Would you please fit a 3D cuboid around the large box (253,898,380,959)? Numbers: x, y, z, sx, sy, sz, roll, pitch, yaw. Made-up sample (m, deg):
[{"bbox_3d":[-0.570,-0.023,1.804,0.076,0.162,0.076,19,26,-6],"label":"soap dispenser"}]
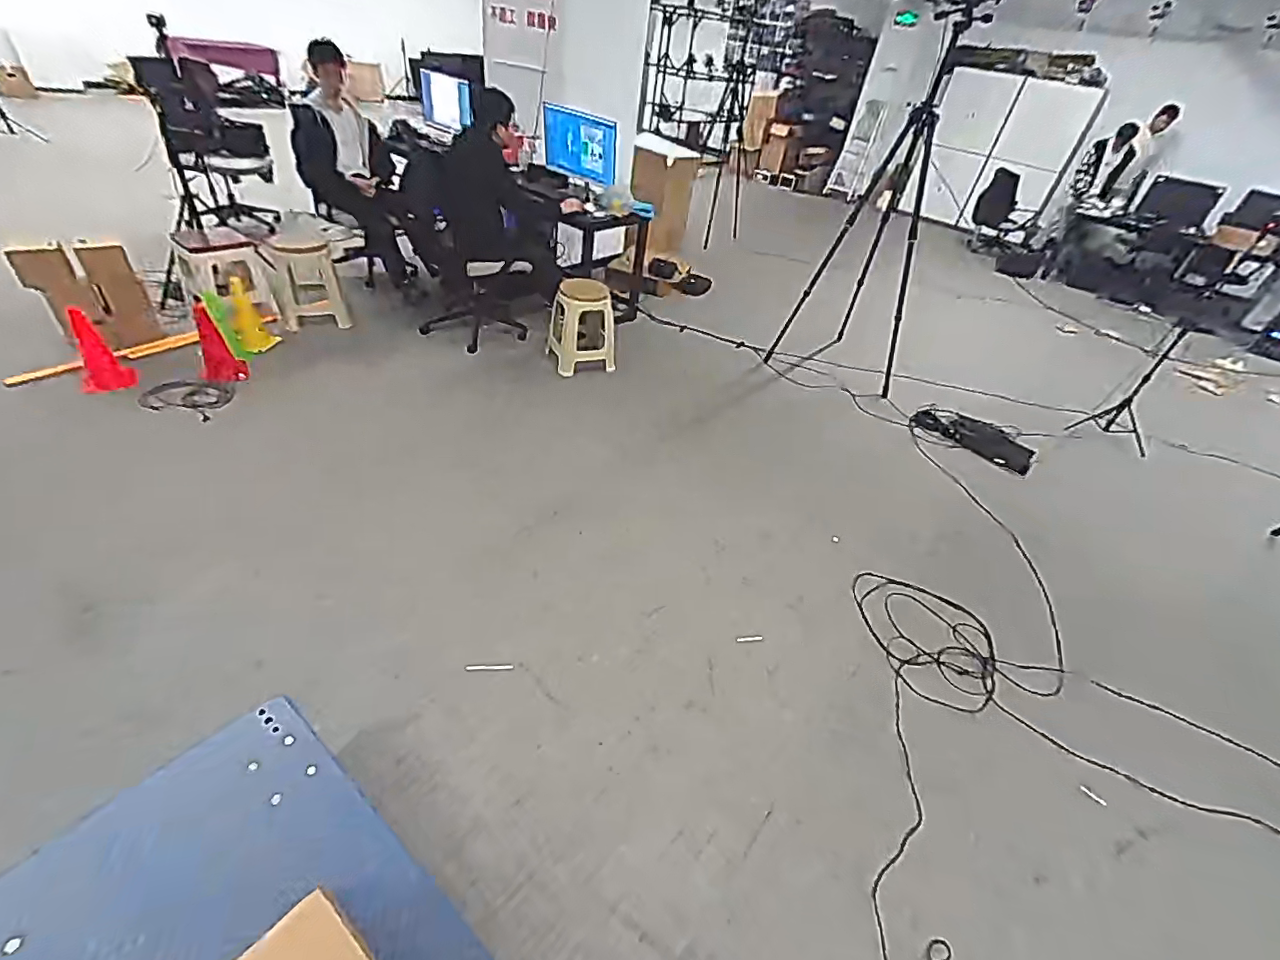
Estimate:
[{"bbox_3d":[-0.476,0.903,0.771,0.408,0.320,0.320,44,47,11],"label":"large box"}]
